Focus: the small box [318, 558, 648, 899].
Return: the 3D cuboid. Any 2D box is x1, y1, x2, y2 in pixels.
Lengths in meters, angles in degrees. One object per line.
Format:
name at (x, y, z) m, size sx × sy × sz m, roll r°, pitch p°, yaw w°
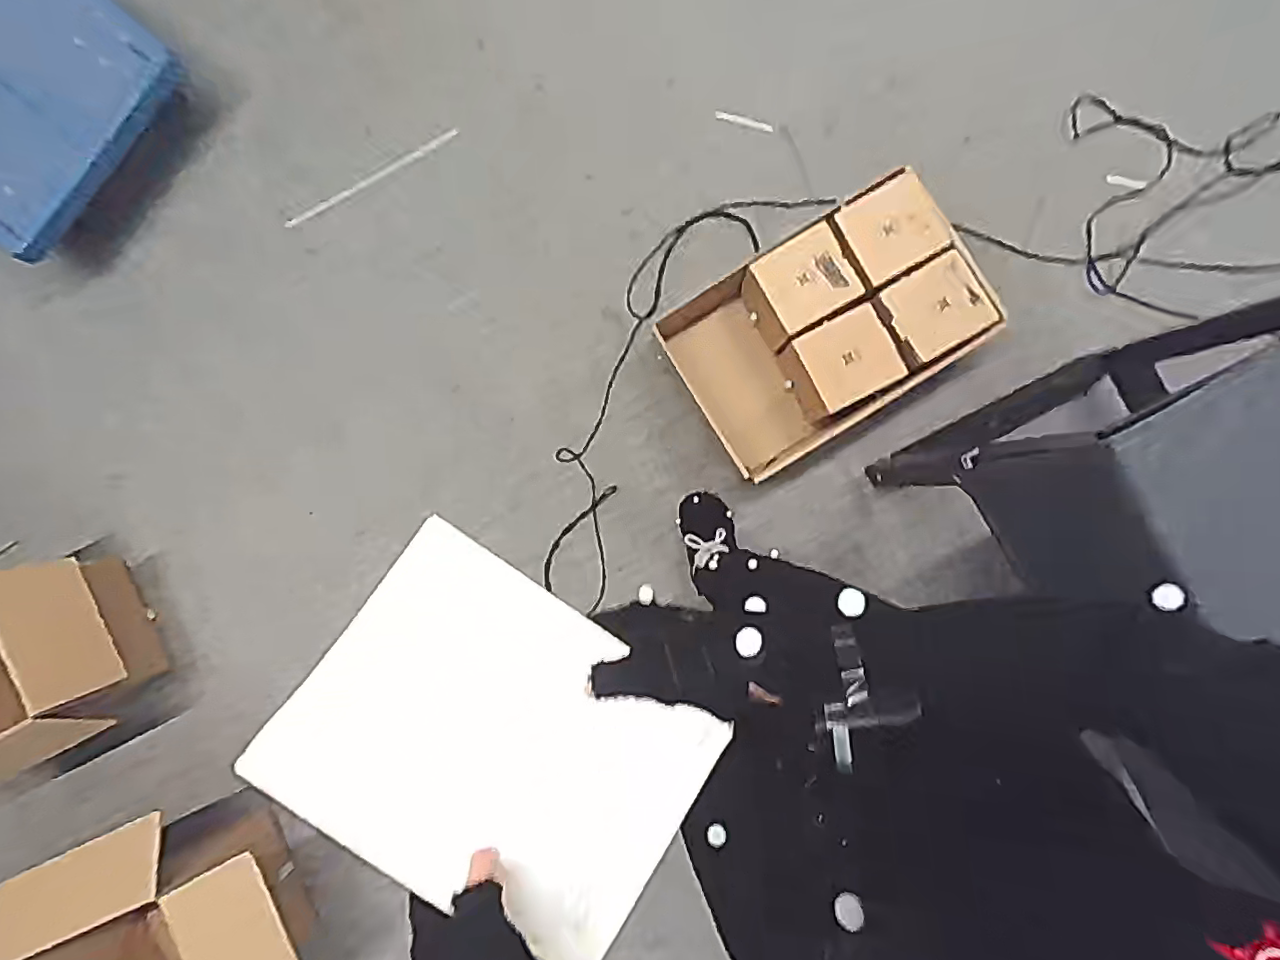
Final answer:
small box at (-0.118, 0.184, 0.462) m, size 0.168 × 0.176 × 0.179 m, roll 36°, pitch 78°, yaw -1°
